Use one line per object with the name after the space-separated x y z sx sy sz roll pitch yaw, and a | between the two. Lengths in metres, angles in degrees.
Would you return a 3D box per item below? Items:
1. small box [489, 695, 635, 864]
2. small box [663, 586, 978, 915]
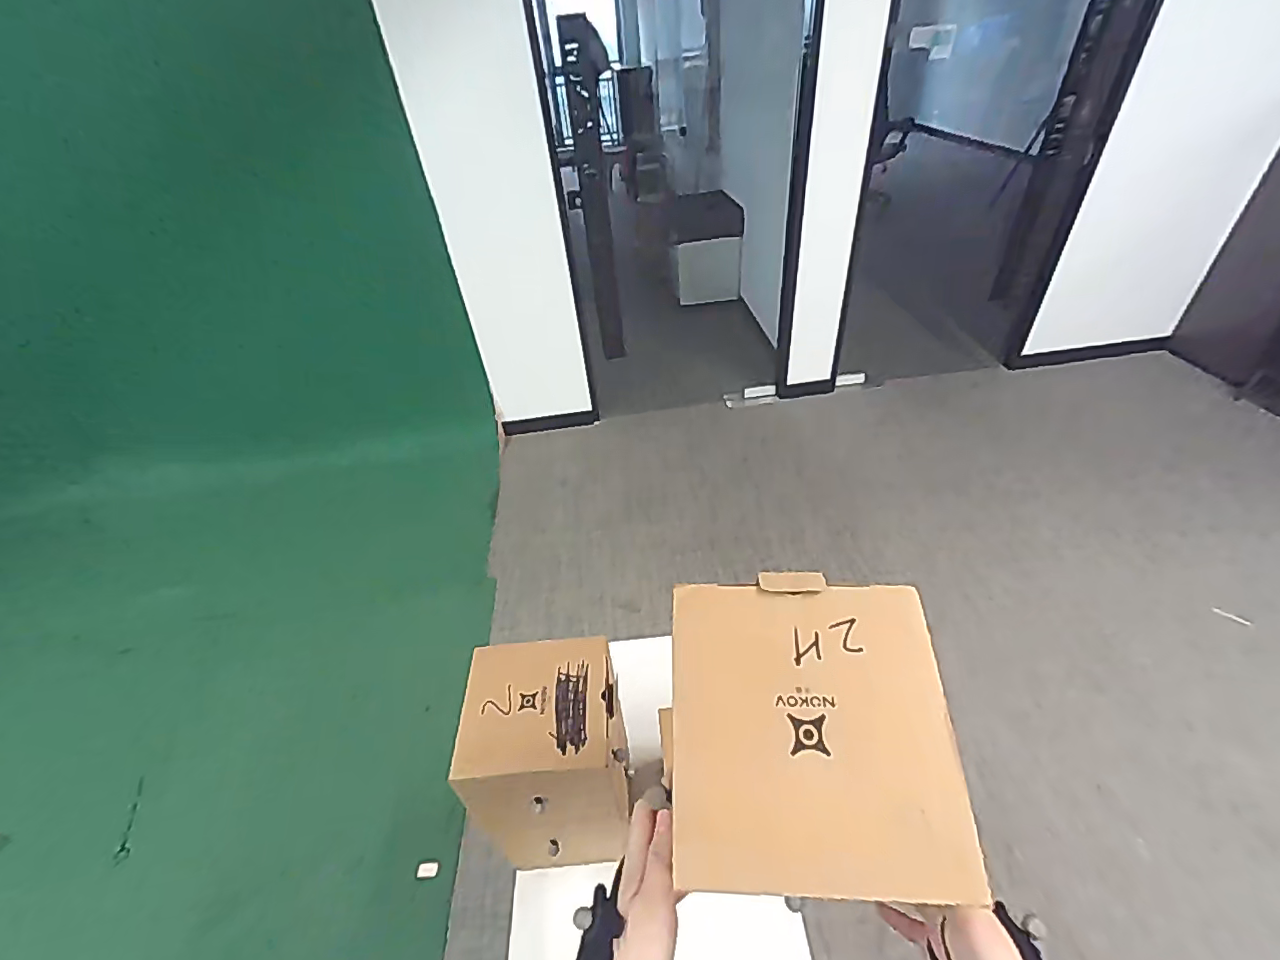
-0.105 0.445 0.802 0.179 0.176 0.168 -6 41 0 | small box
0.104 0.189 0.395 0.168 0.176 0.179 0 58 5 | small box
